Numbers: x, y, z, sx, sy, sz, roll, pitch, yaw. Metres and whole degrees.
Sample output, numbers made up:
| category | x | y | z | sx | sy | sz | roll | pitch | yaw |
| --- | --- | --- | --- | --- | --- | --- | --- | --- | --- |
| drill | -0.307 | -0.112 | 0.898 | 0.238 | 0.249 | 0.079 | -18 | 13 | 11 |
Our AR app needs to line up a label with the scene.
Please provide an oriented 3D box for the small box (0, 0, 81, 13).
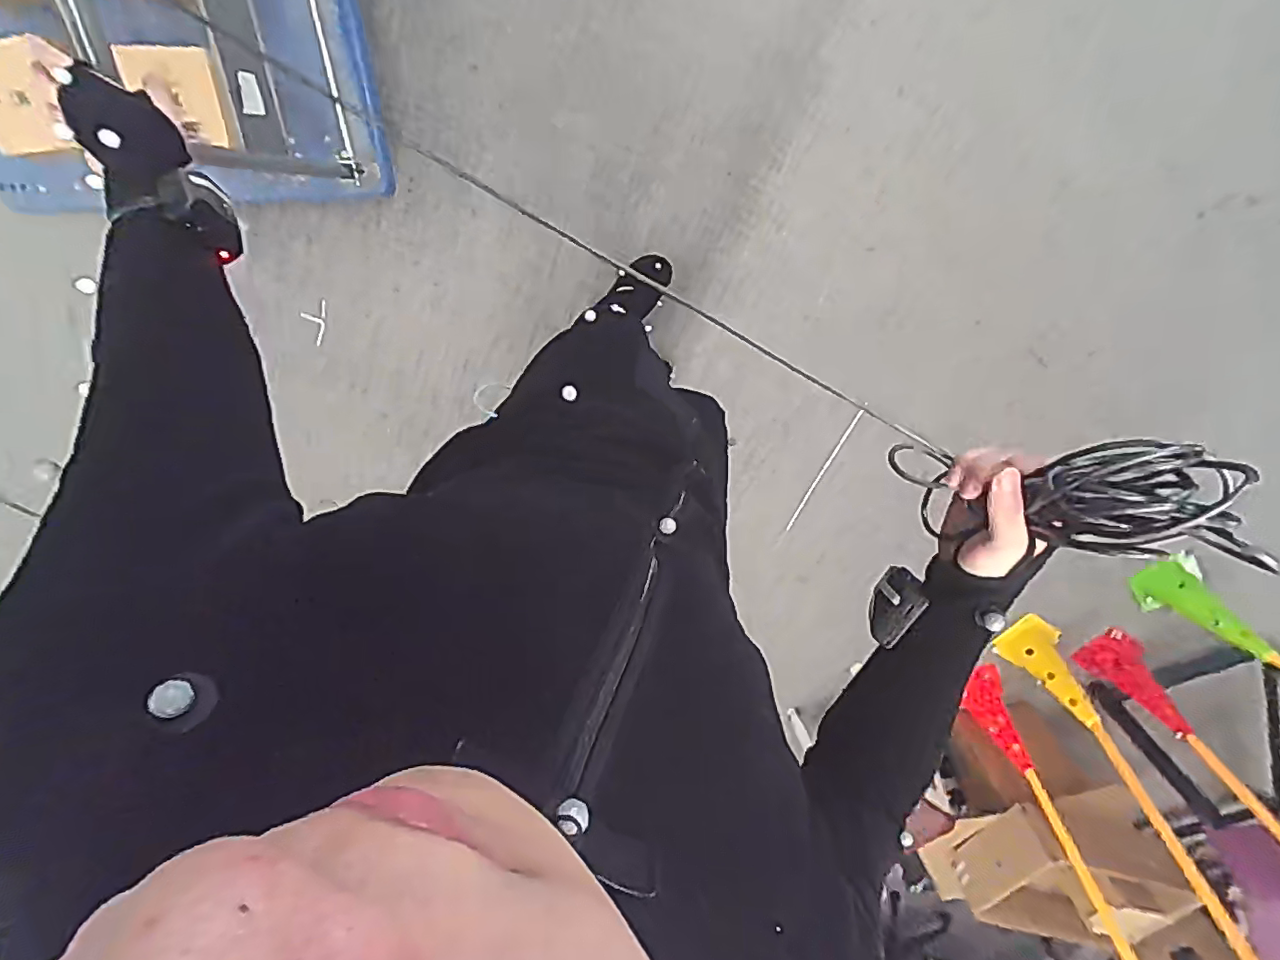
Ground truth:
| category | x | y | z | sx | sy | sz | roll | pitch | yaw |
| --- | --- | --- | --- | --- | --- | --- | --- | --- | --- |
| small box | -1.145 | -0.938 | 0.930 | 0.179 | 0.176 | 0.168 | -6 | 118 | 2 |

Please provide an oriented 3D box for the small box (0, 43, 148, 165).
| category | x | y | z | sx | sy | sz | roll | pitch | yaw |
| --- | --- | --- | --- | --- | --- | --- | --- | --- | --- |
| small box | -1.117 | -0.716 | 1.046 | 0.179 | 0.176 | 0.168 | -6 | 117 | 3 |

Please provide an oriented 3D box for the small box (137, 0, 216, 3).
| category | x | y | z | sx | sy | sz | roll | pitch | yaw |
| --- | --- | --- | --- | --- | --- | --- | --- | --- | --- |
| small box | -0.875 | -0.949 | 0.927 | 0.179 | 0.176 | 0.168 | -2 | 118 | 0 |
